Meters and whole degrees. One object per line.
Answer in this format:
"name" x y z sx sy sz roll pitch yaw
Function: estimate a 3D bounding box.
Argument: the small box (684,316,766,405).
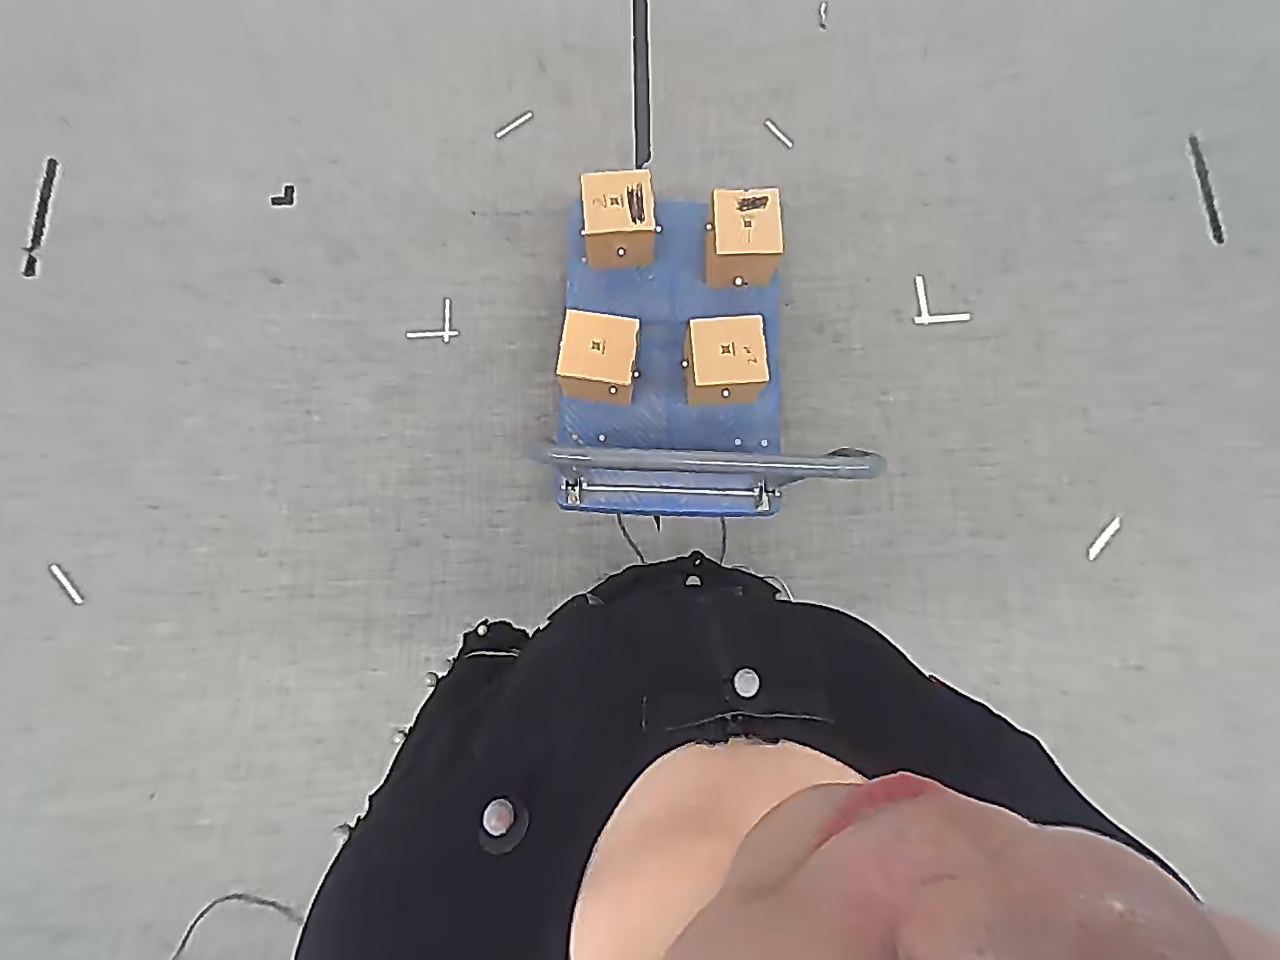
"small box" 0.204 -0.292 1.353 0.179 0.176 0.168 -4 81 -2

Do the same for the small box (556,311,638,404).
"small box" -0.102 -0.299 1.349 0.179 0.176 0.168 8 80 -1

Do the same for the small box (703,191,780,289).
"small box" 0.259 -0.621 1.410 0.168 0.176 0.179 -1 81 -1
